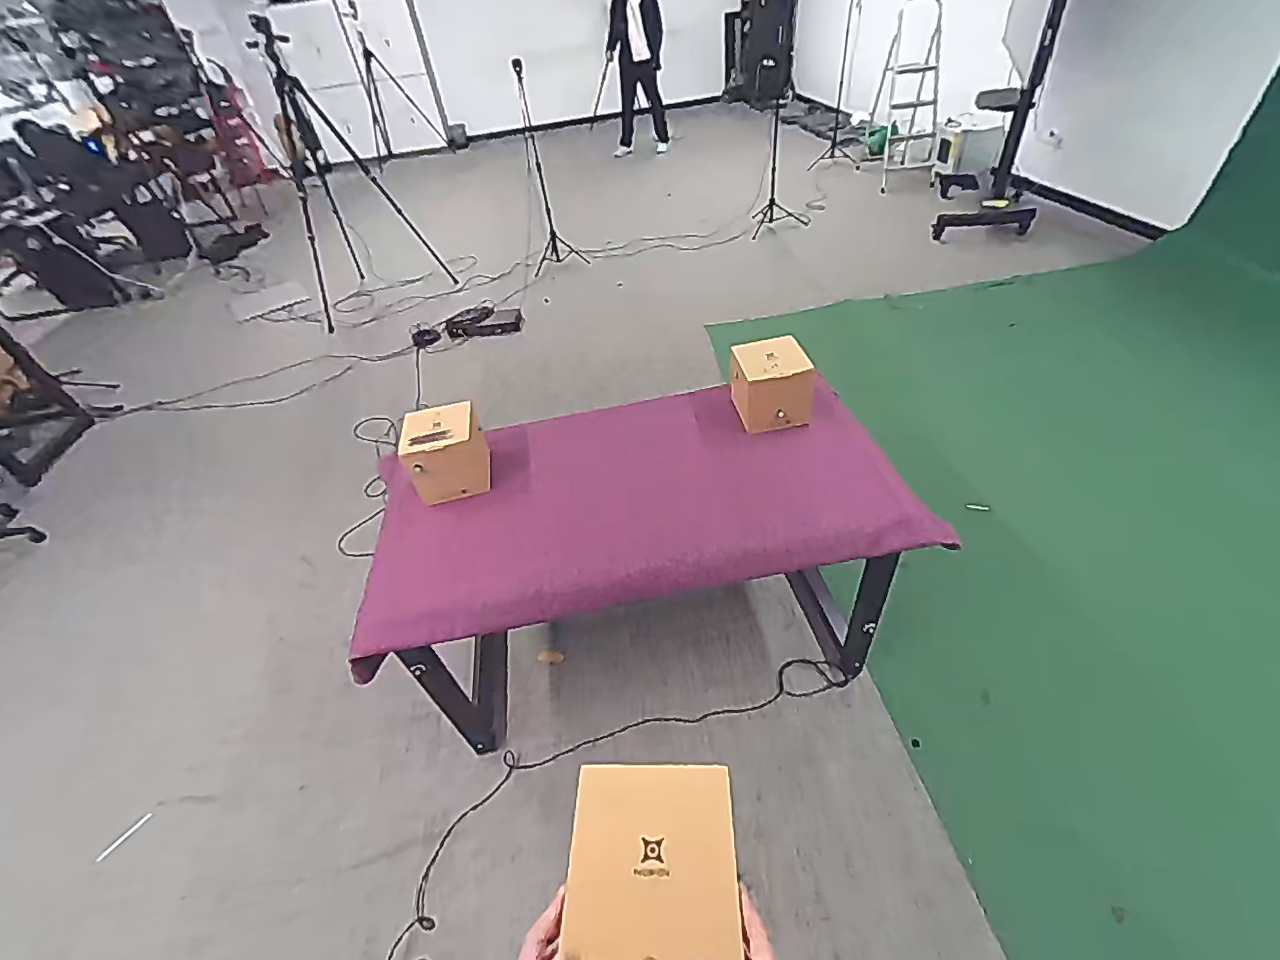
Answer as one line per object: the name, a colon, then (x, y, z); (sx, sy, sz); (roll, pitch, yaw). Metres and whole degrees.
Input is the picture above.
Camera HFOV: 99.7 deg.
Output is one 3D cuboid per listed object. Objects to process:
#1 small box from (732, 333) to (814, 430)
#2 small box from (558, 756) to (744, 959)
small box: (0.336, -0.254, 1.402); (0.168, 0.176, 0.179); (-11, 44, 0)
small box: (0.016, 0.425, 0.582); (0.168, 0.176, 0.179); (-1, 40, 4)
